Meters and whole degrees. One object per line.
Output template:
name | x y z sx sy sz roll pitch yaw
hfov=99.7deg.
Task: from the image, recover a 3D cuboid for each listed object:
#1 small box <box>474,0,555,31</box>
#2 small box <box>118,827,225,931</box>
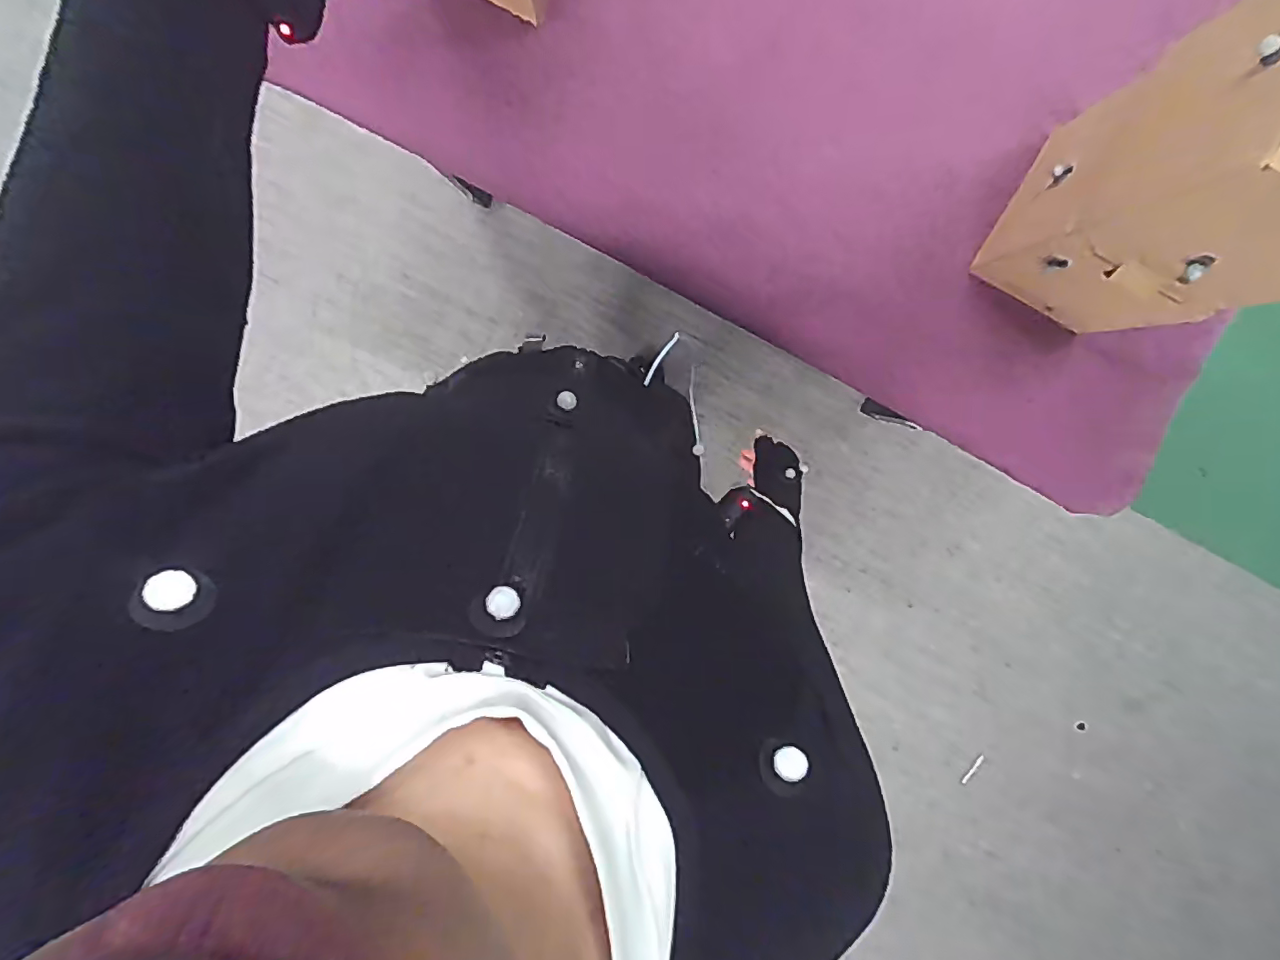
small box | -0.152 -0.616 0.536 0.168 0.176 0.179 25 102 -4
small box | -1.463 1.245 1.702 0.168 0.176 0.179 30 100 -5
